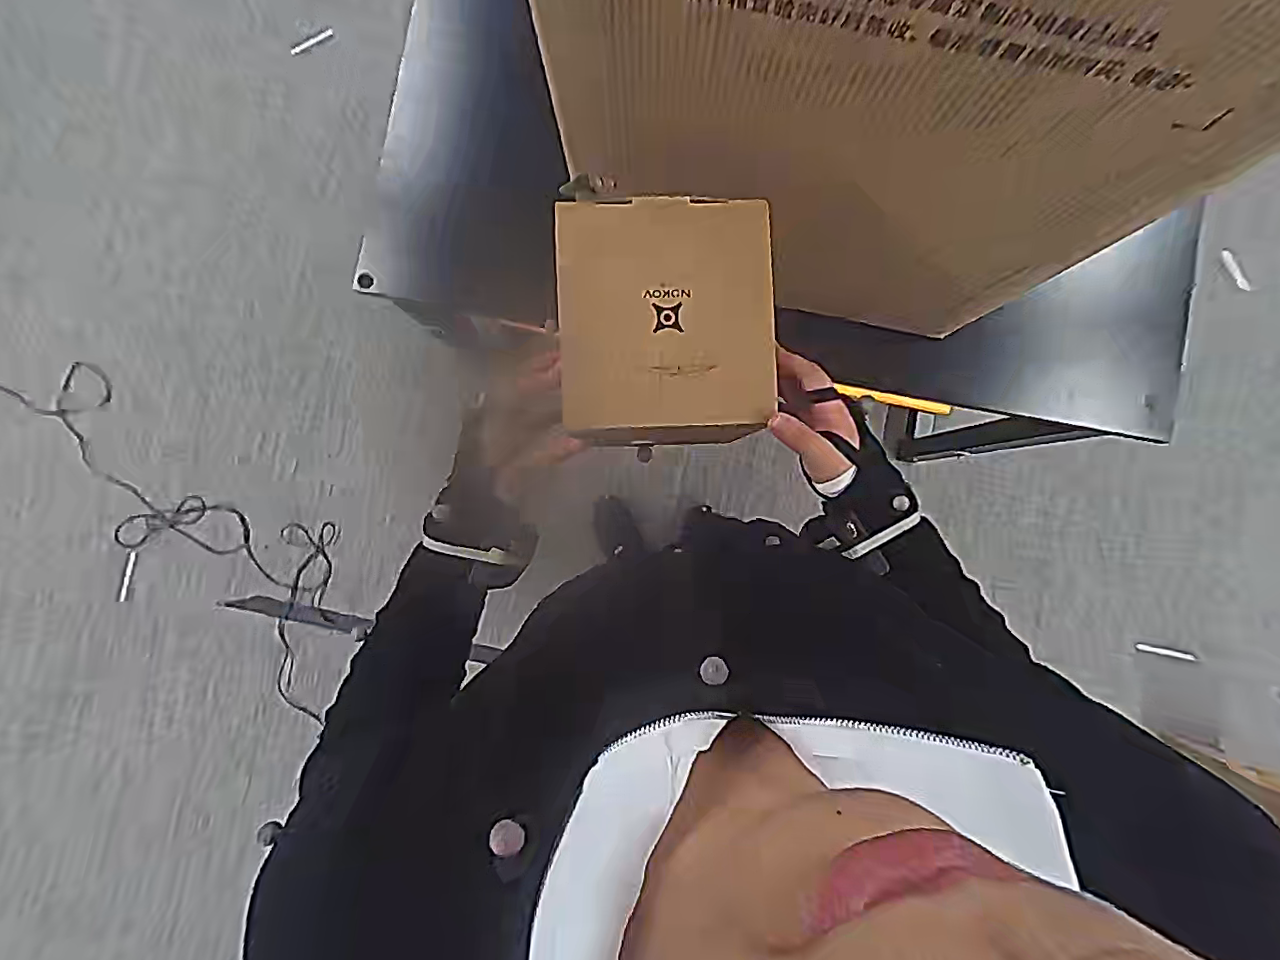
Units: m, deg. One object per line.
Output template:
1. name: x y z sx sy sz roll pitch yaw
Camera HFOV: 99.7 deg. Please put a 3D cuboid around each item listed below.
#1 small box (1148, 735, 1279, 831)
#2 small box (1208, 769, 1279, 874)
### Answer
1. small box: 1.478 0.791 1.396 0.168 0.176 0.179 15 89 1
2. small box: 1.480 0.794 1.231 0.179 0.176 0.168 15 88 1
